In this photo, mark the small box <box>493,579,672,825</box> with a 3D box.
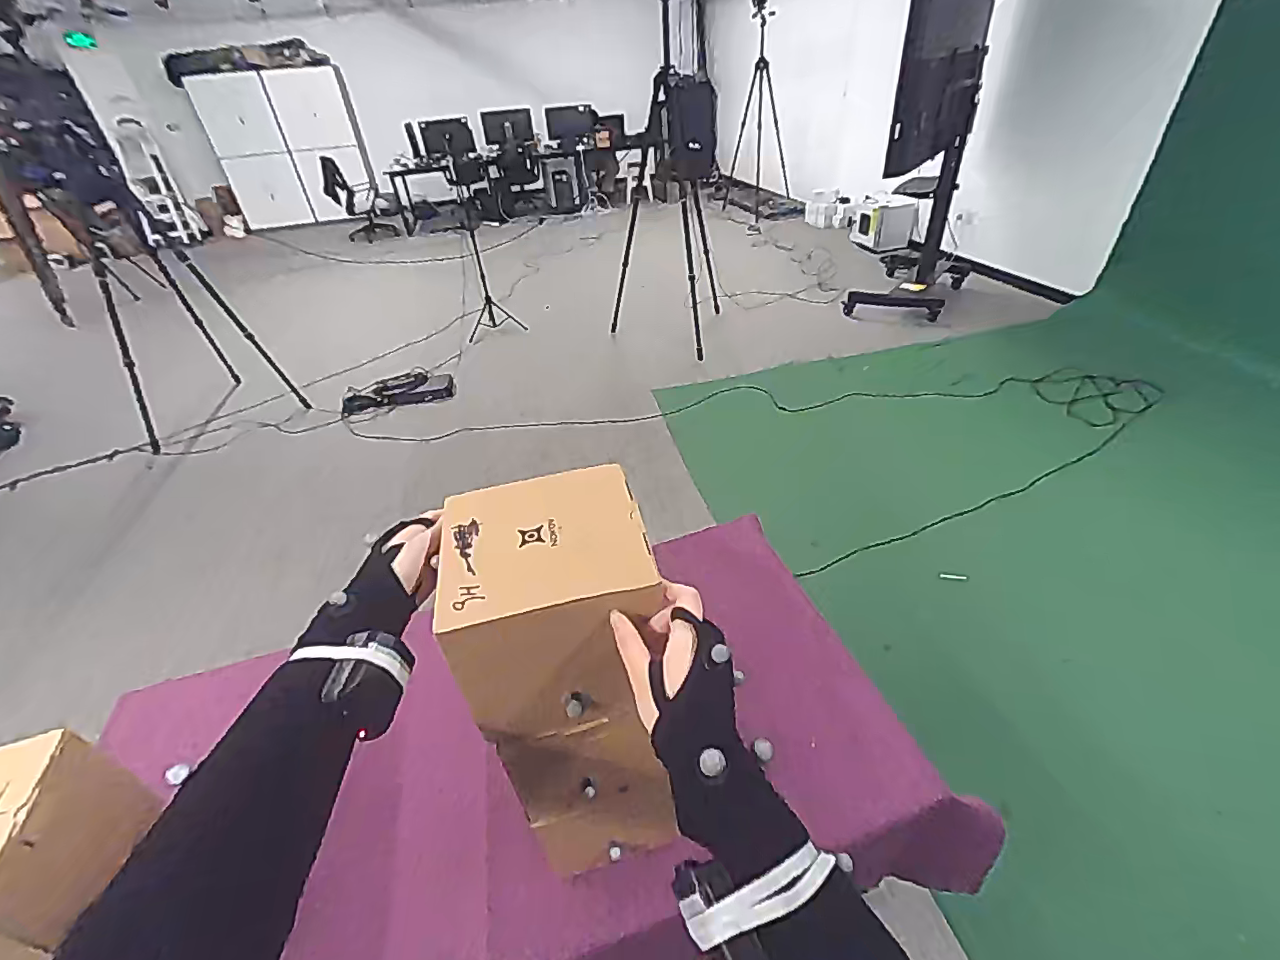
[{"bbox_3d":[-0.066,0.246,0.613,0.168,0.176,0.179,-12,38,-9],"label":"small box"}]

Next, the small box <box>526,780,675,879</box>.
[{"bbox_3d":[-0.057,0.377,0.710,0.168,0.176,0.179,-13,38,-9],"label":"small box"}]

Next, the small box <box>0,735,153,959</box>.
[{"bbox_3d":[-0.616,0.379,0.500,0.179,0.176,0.168,-15,38,-13],"label":"small box"}]
